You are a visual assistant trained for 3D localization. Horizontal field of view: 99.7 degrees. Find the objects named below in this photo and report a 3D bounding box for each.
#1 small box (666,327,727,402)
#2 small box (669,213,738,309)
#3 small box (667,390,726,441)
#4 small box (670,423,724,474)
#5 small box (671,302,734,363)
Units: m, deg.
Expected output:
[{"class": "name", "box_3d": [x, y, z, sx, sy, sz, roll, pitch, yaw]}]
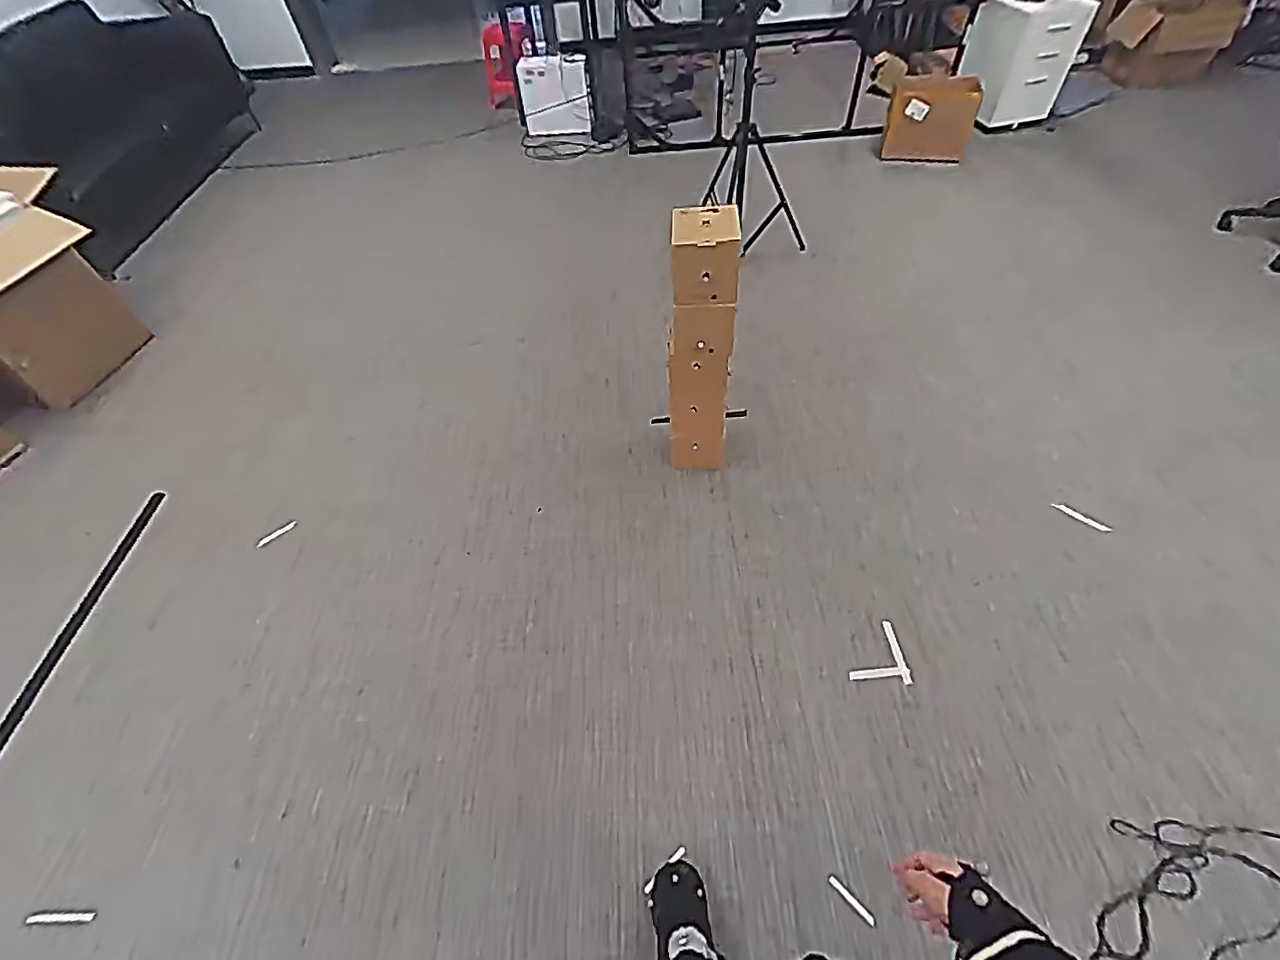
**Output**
[{"class": "small box", "box_3d": [0.174, -0.349, 1.642, 0.179, 0.176, 0.168, 2, 53, 6]}, {"class": "small box", "box_3d": [0.163, -0.555, 1.387, 0.168, 0.176, 0.179, 0, 53, 6]}, {"class": "small box", "box_3d": [0.186, -0.243, 1.763, 0.179, 0.176, 0.168, 4, 53, 8]}, {"class": "small box", "box_3d": [0.198, -0.134, 1.887, 0.179, 0.176, 0.168, 1, 52, 6]}, {"class": "small box", "box_3d": [0.175, -0.447, 1.510, 0.168, 0.176, 0.179, 1, 53, 7]}]
